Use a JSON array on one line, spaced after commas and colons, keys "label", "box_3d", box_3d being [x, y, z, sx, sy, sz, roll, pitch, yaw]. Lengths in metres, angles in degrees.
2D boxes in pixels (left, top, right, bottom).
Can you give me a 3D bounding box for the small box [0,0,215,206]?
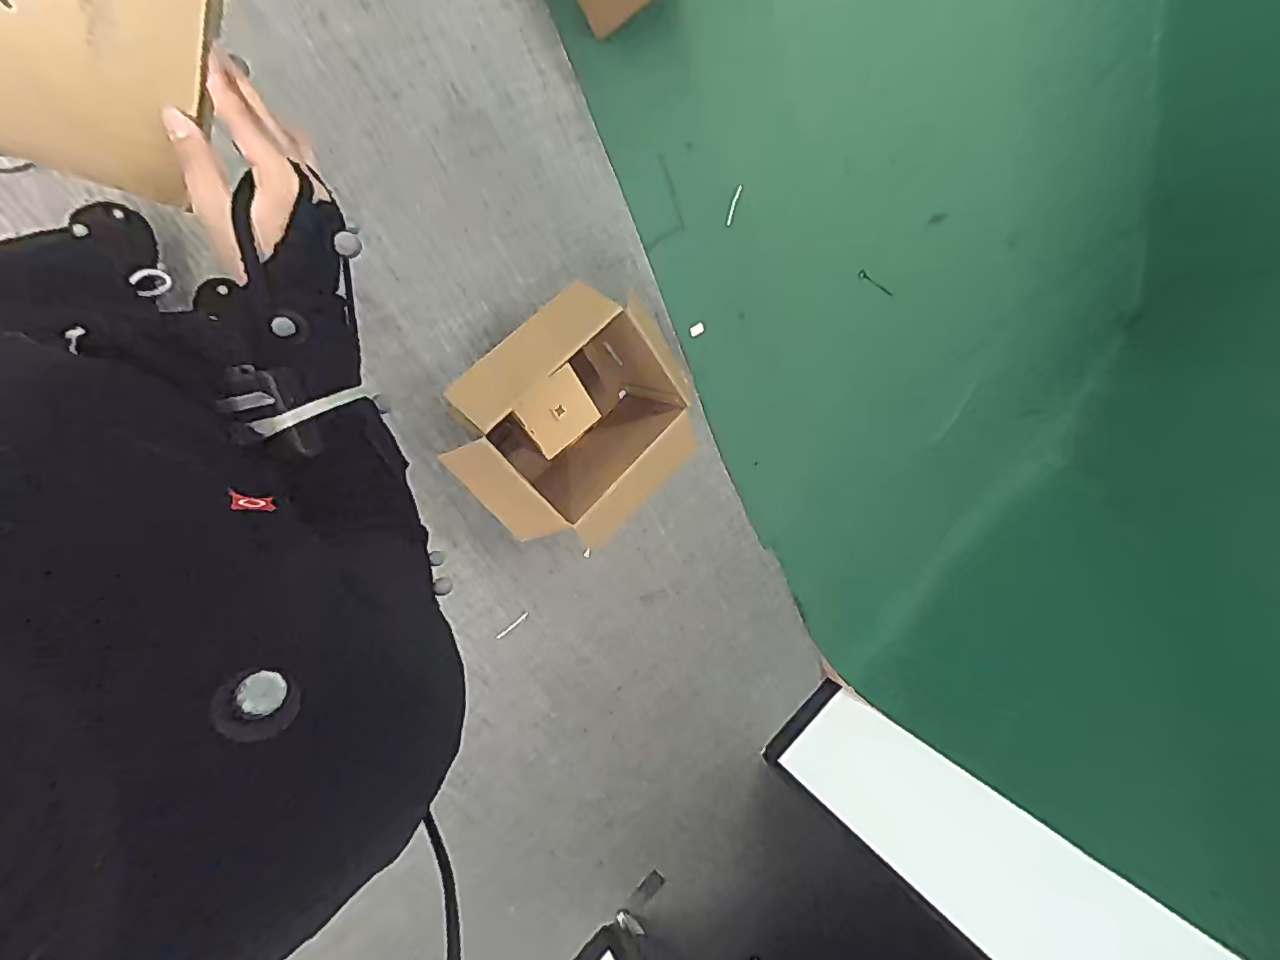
[{"label": "small box", "box_3d": [-0.345, -0.285, 0.291, 0.179, 0.176, 0.168, 5, 127, -39]}]
